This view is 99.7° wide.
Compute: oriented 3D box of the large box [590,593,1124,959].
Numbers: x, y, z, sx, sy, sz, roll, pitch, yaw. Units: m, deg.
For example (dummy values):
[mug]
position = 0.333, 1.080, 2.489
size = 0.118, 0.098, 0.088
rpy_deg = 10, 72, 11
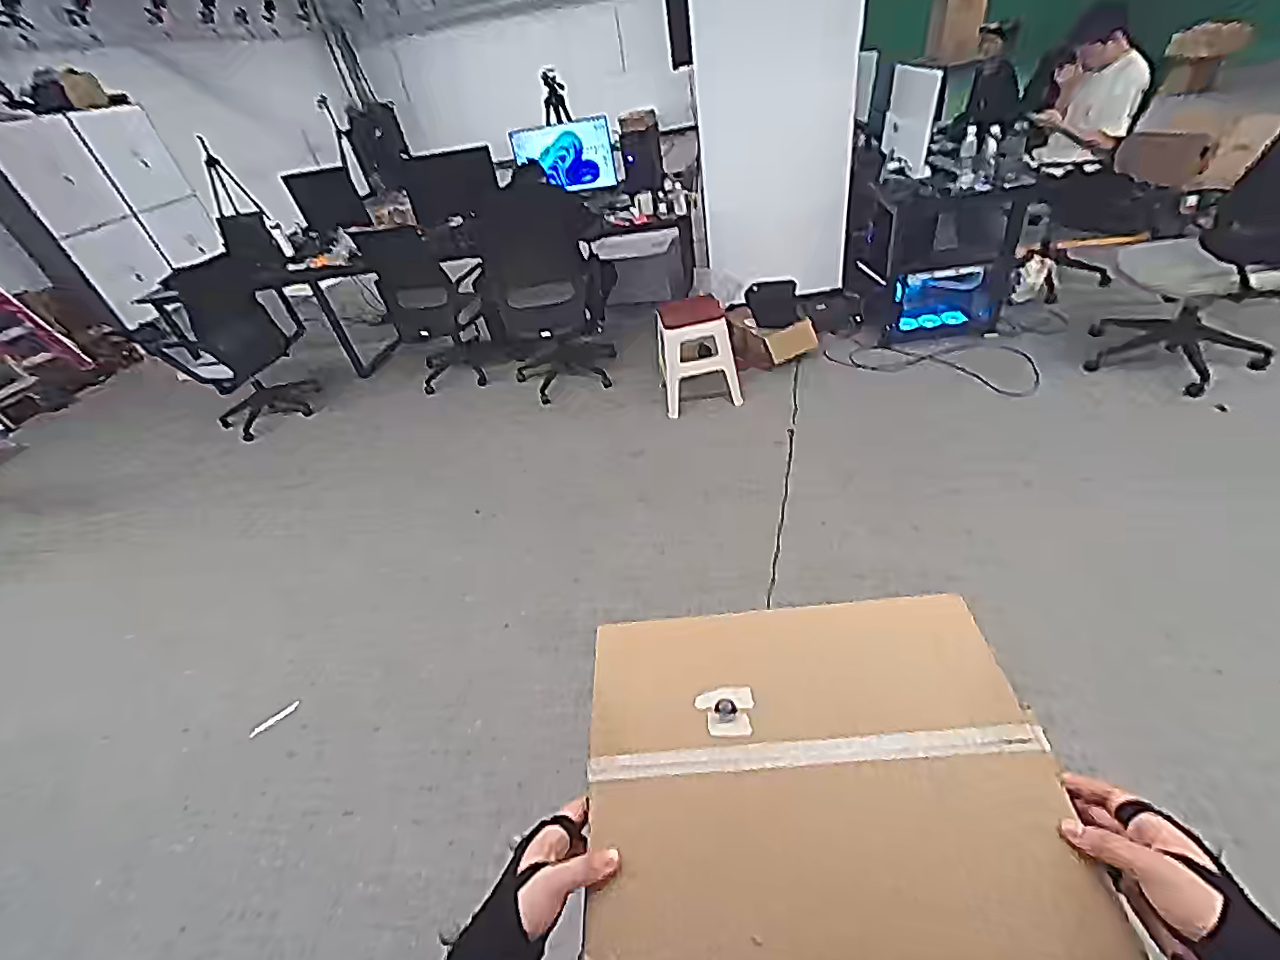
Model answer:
[large box]
position = 0.179, 0.365, 0.614
size = 0.408, 0.320, 0.320
rpy_deg = -8, 42, 6
